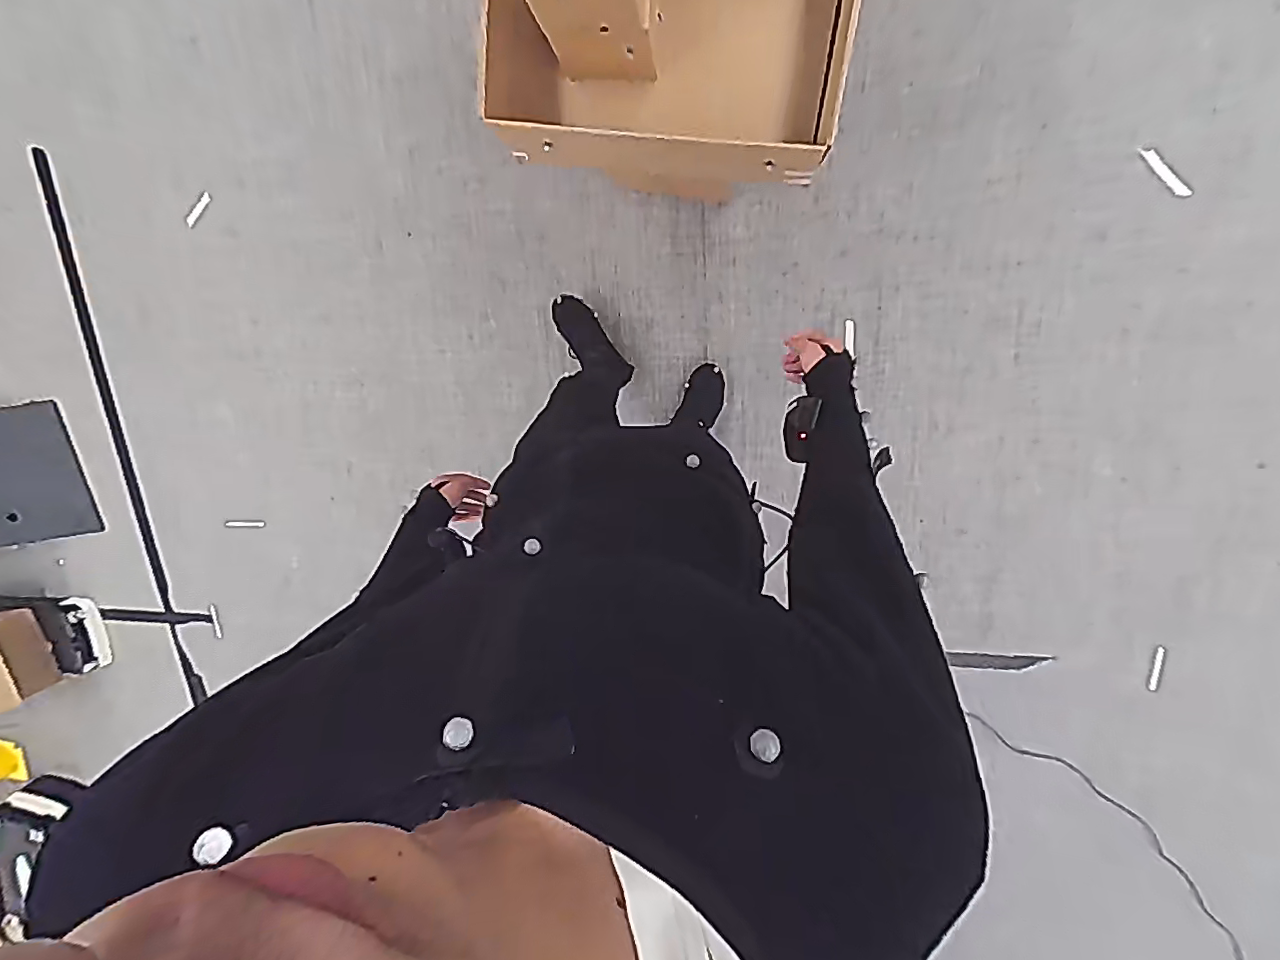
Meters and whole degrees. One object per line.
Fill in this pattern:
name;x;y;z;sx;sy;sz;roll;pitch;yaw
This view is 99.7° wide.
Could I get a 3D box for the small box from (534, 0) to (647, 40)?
small box;-0.076;-0.775;0.768;0.168;0.176;0.179;5;104;6
